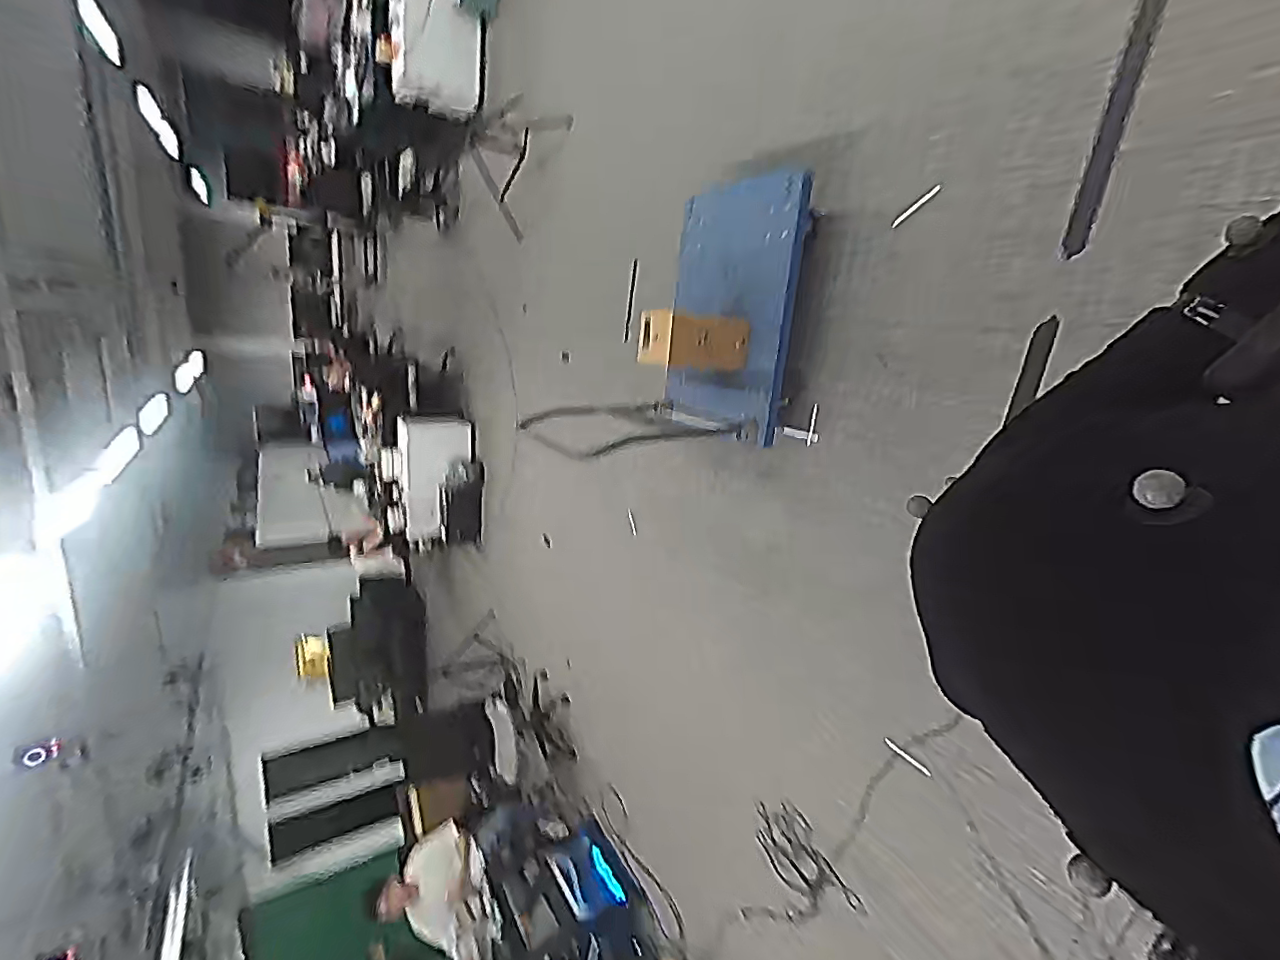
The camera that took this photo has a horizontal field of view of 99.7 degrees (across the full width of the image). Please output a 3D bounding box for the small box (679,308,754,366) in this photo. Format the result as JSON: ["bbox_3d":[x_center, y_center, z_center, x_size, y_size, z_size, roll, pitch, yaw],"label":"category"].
[{"bbox_3d":[0.260,-0.487,1.848,0.179,0.176,0.168,31,120,50],"label":"small box"}]
